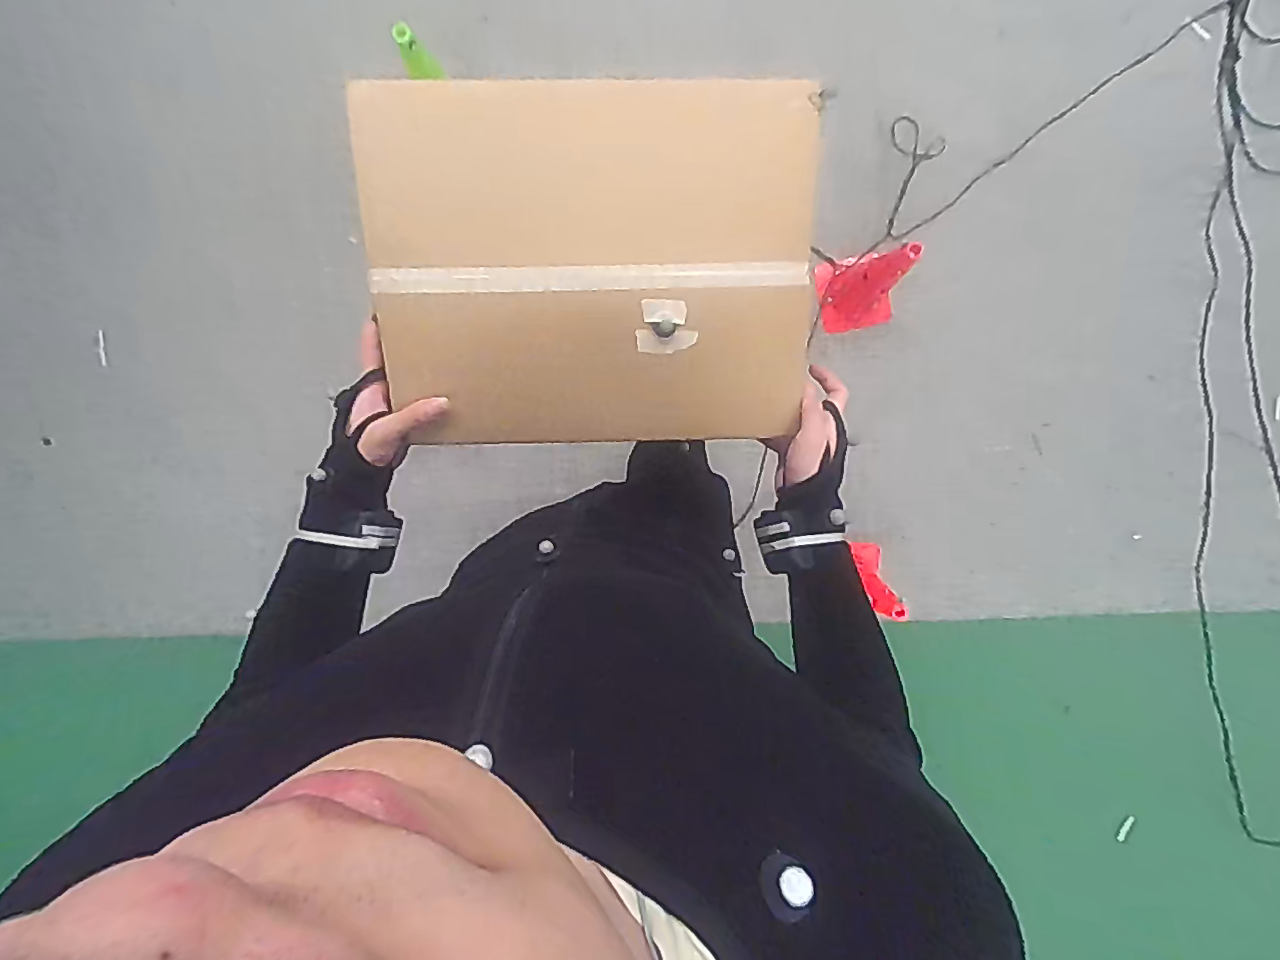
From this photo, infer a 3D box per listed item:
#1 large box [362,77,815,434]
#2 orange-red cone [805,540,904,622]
[{"bbox_3d":[-0.047,-0.242,0.654,0.408,0.320,0.320,-1,107,-2],"label":"large box"},{"bbox_3d":[0.608,0.300,1.454,0.199,0.360,0.198,6,95,-2],"label":"orange-red cone"}]
